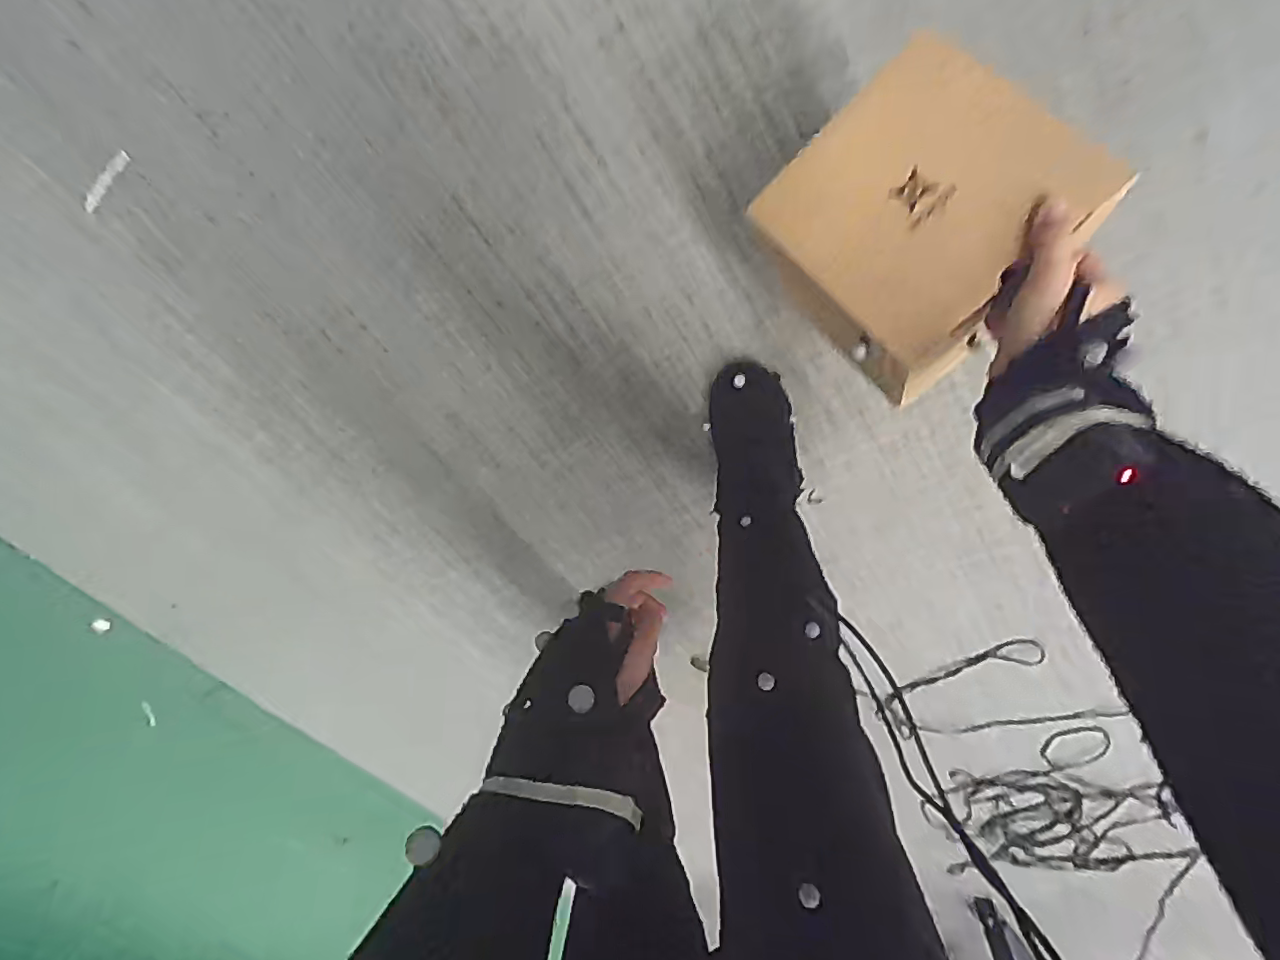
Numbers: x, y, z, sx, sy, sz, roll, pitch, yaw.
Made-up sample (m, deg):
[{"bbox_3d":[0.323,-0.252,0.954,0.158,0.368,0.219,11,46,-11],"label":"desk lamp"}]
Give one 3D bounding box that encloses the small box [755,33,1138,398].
[{"bbox_3d":[0.224,-0.190,0.443,0.168,0.176,0.179,-43,73,16],"label":"small box"}]
